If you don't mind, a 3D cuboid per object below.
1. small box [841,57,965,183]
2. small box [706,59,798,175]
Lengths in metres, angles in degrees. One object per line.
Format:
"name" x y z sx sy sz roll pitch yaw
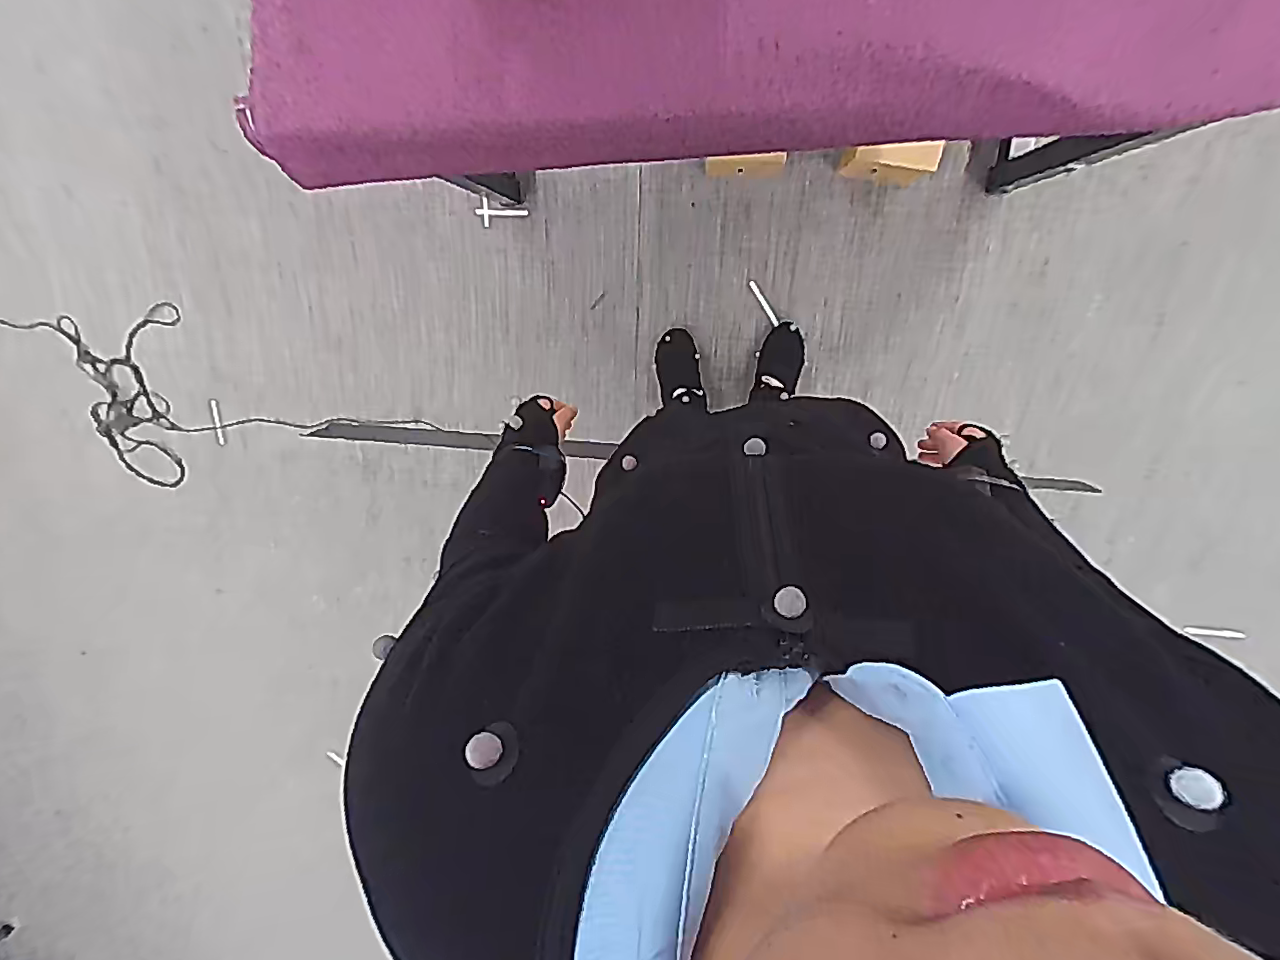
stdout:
"small box" 0.540 -0.746 1.140 0.168 0.176 0.179 11 109 3
"small box" 0.233 -0.771 1.164 0.168 0.176 0.179 4 109 5
